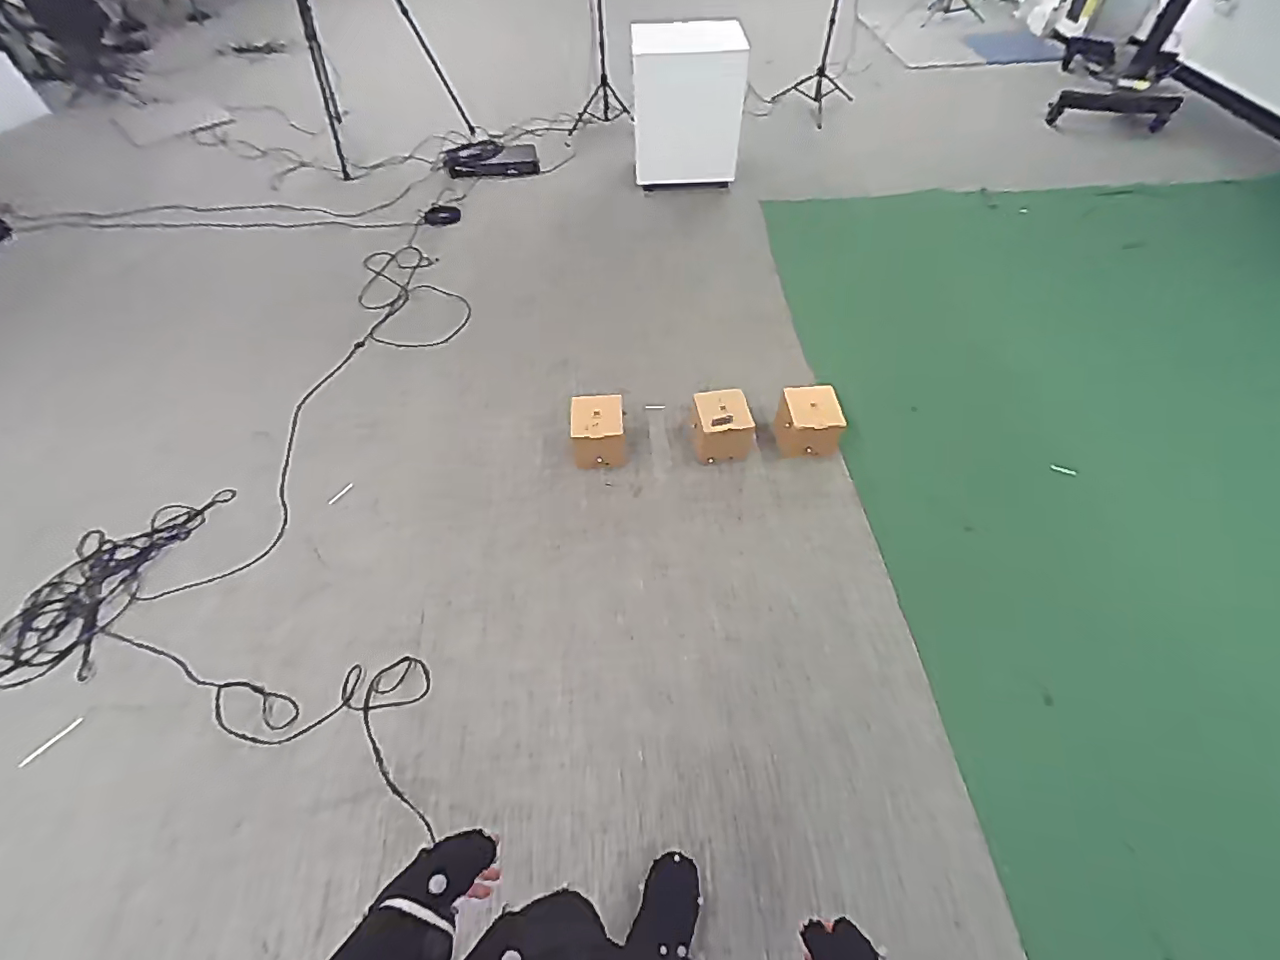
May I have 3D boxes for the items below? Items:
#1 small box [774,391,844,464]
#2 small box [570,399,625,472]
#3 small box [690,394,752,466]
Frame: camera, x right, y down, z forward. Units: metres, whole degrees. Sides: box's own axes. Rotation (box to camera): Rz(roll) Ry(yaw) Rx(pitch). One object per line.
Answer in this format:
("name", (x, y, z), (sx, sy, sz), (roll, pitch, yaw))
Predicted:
("small box", (0.556, -0.174, 1.810), (0.168, 0.176, 0.179), (-4, 54, -2))
("small box", (-0.138, -0.146, 1.793), (0.168, 0.176, 0.179), (-3, 55, 0))
("small box", (0.264, -0.162, 1.803), (0.168, 0.176, 0.179), (-7, 54, -5))
